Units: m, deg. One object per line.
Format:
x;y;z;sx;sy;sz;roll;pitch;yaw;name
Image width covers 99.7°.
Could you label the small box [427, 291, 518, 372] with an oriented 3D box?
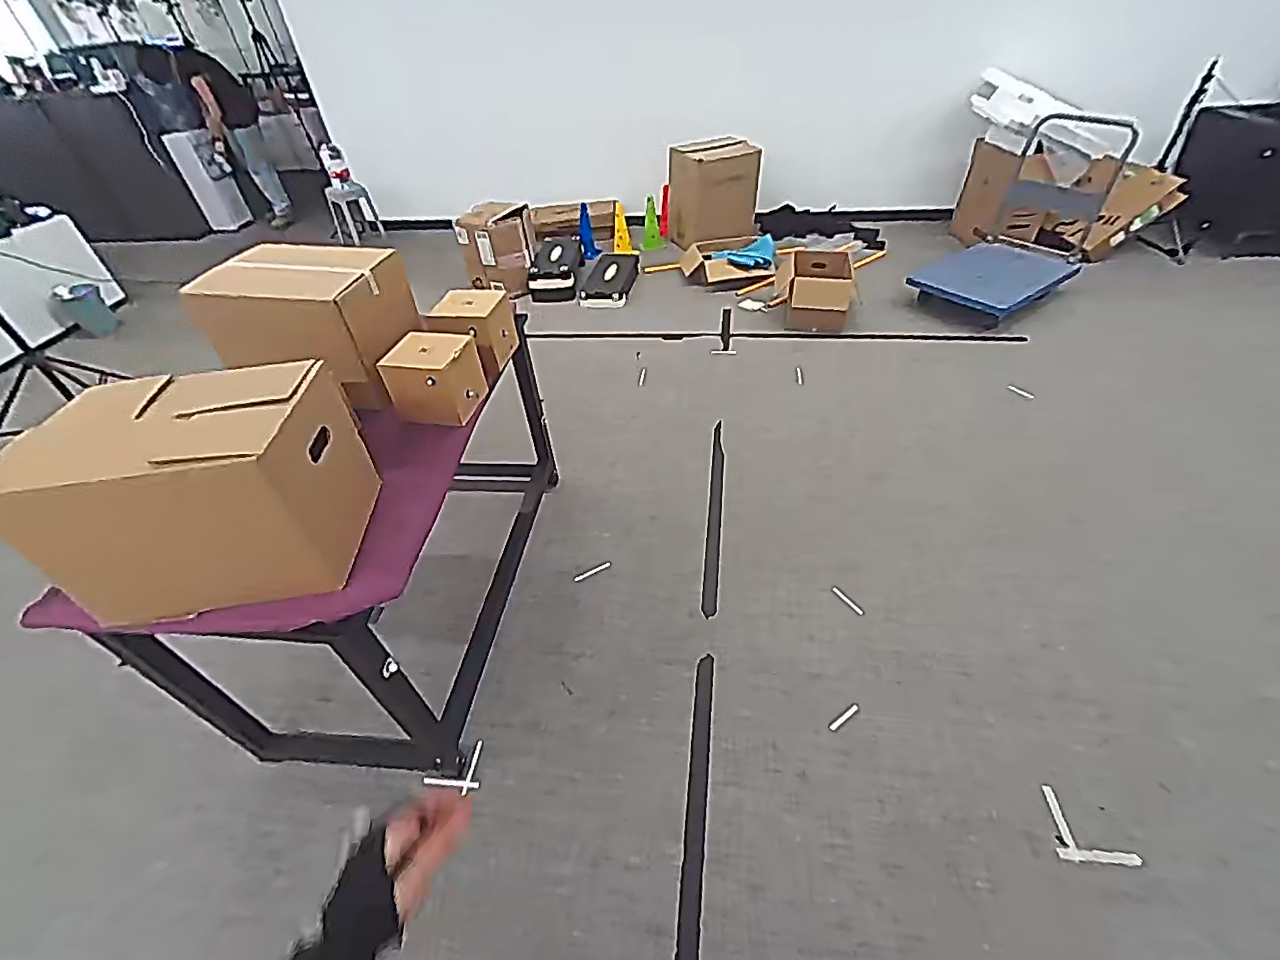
-0.463;-0.419;1.535;0.179;0.176;0.168;3;42;10;small box
